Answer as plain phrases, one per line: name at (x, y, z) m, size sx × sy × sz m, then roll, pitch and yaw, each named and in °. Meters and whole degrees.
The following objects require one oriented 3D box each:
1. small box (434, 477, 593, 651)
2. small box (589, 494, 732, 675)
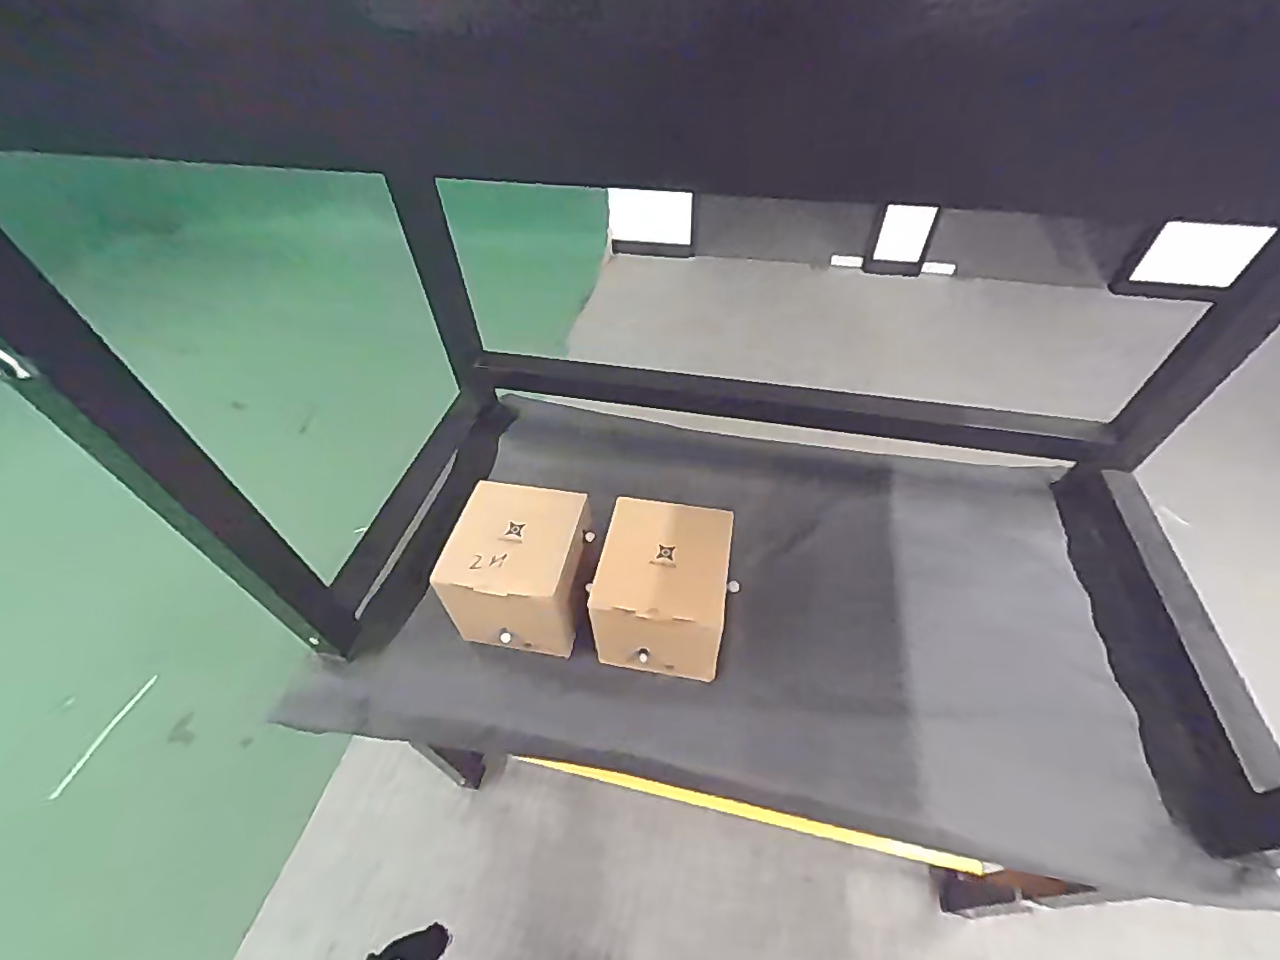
small box at (-0.168, 0.122, 0.788) m, size 0.168 × 0.176 × 0.179 m, roll 7°, pitch 49°, yaw 8°
small box at (0.033, 0.148, 0.764) m, size 0.168 × 0.176 × 0.179 m, roll 7°, pitch 49°, yaw 8°
